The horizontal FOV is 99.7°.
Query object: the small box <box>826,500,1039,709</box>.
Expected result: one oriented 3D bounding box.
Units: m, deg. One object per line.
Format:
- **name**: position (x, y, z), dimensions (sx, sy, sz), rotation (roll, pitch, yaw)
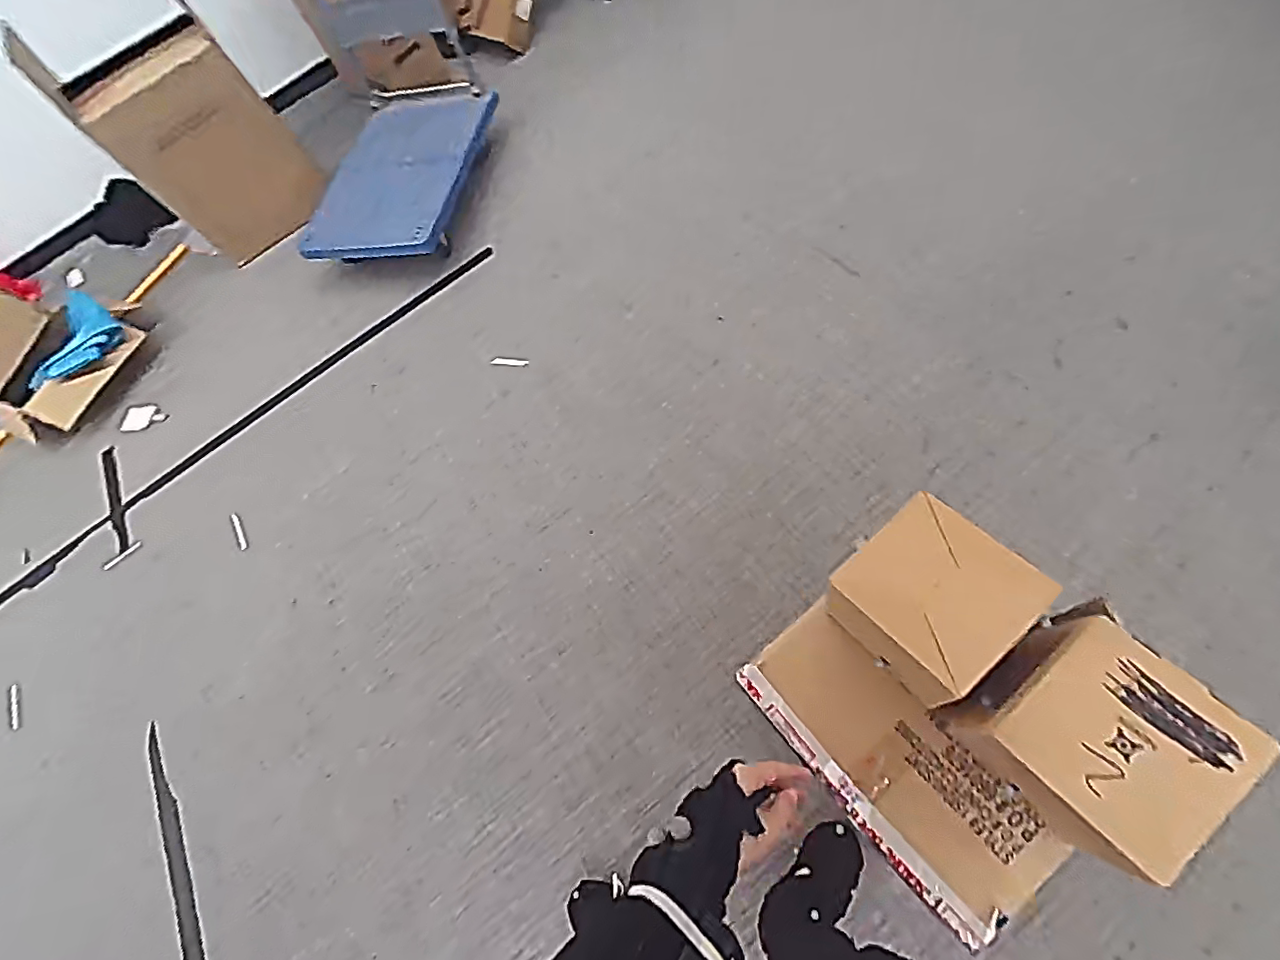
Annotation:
- **small box**: position (0.357, 0.159, 0.680), dimensions (0.168, 0.176, 0.179), rotation (-41, 60, -6)
